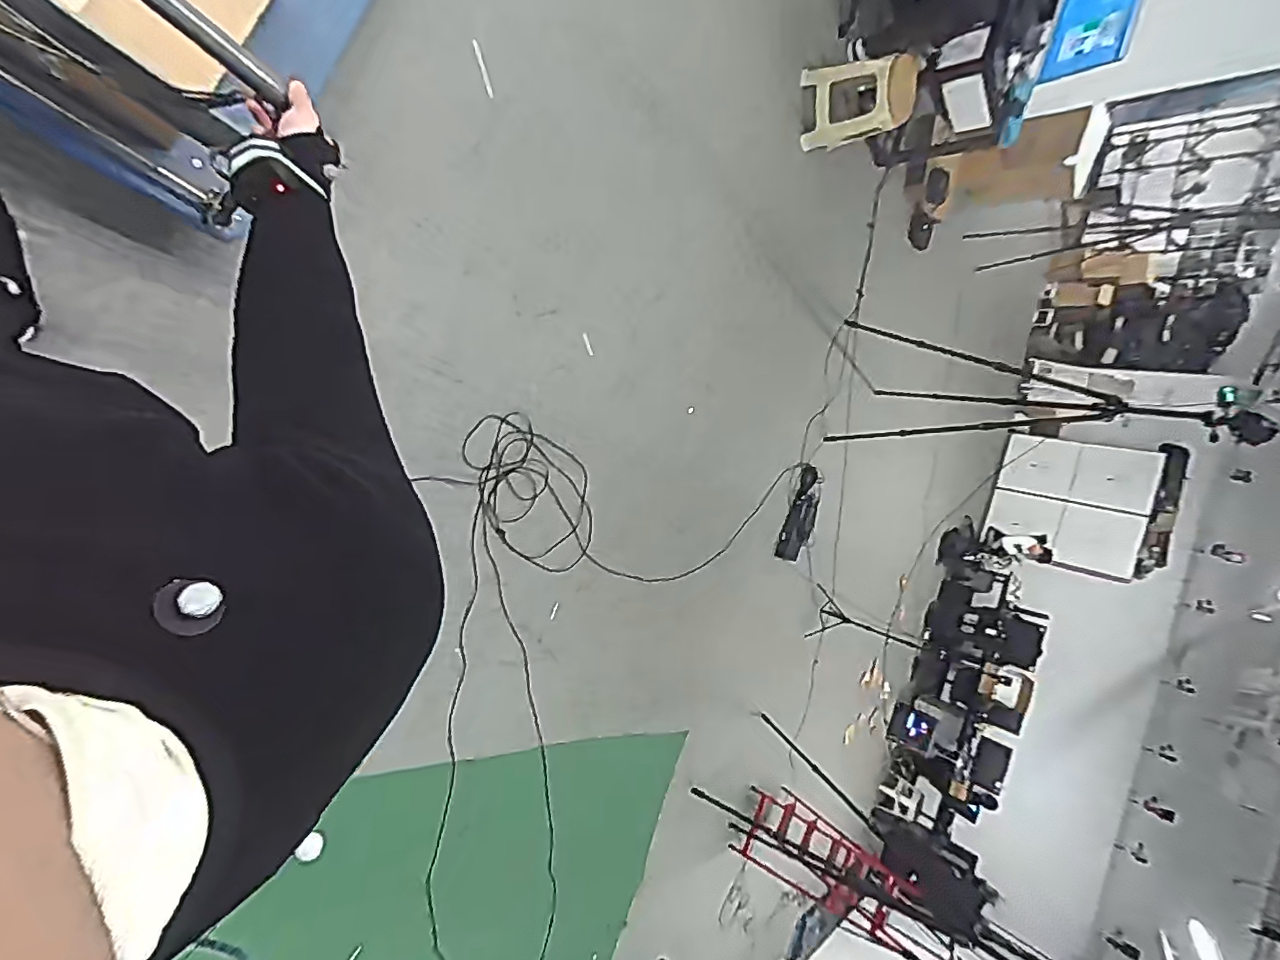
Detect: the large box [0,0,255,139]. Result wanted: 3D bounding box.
[{"bbox_3d":[-0.814,-0.848,0.847,0.320,0.320,0.408,33,76,-48],"label":"large box"}]
